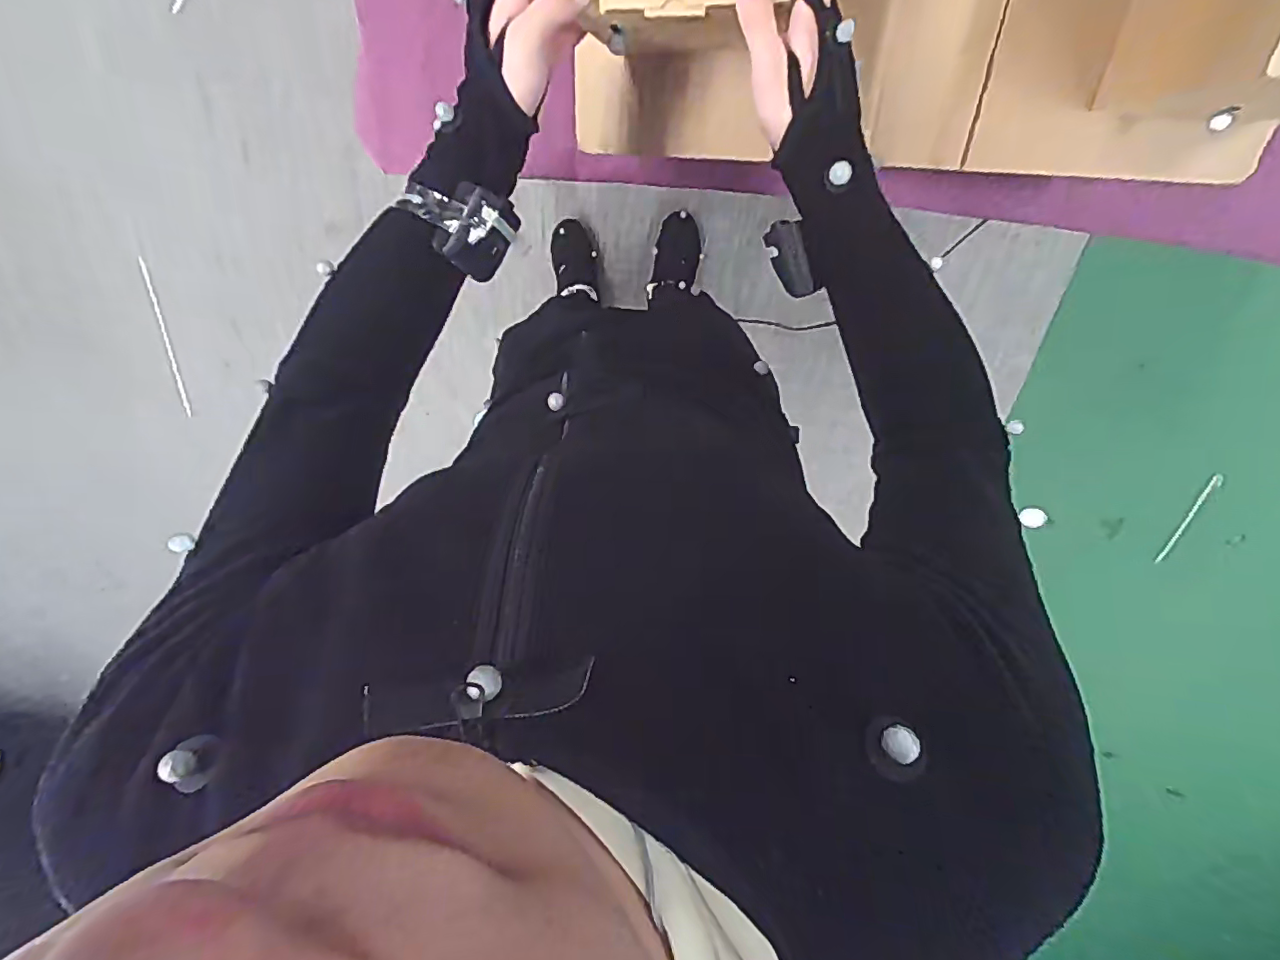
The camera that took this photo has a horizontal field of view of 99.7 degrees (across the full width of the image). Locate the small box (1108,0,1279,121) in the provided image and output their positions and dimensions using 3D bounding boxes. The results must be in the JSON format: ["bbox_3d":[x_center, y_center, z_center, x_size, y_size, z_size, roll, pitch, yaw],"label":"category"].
[{"bbox_3d":[0.513,-0.386,0.401,0.168,0.176,0.179,3,117,1],"label":"small box"}]
